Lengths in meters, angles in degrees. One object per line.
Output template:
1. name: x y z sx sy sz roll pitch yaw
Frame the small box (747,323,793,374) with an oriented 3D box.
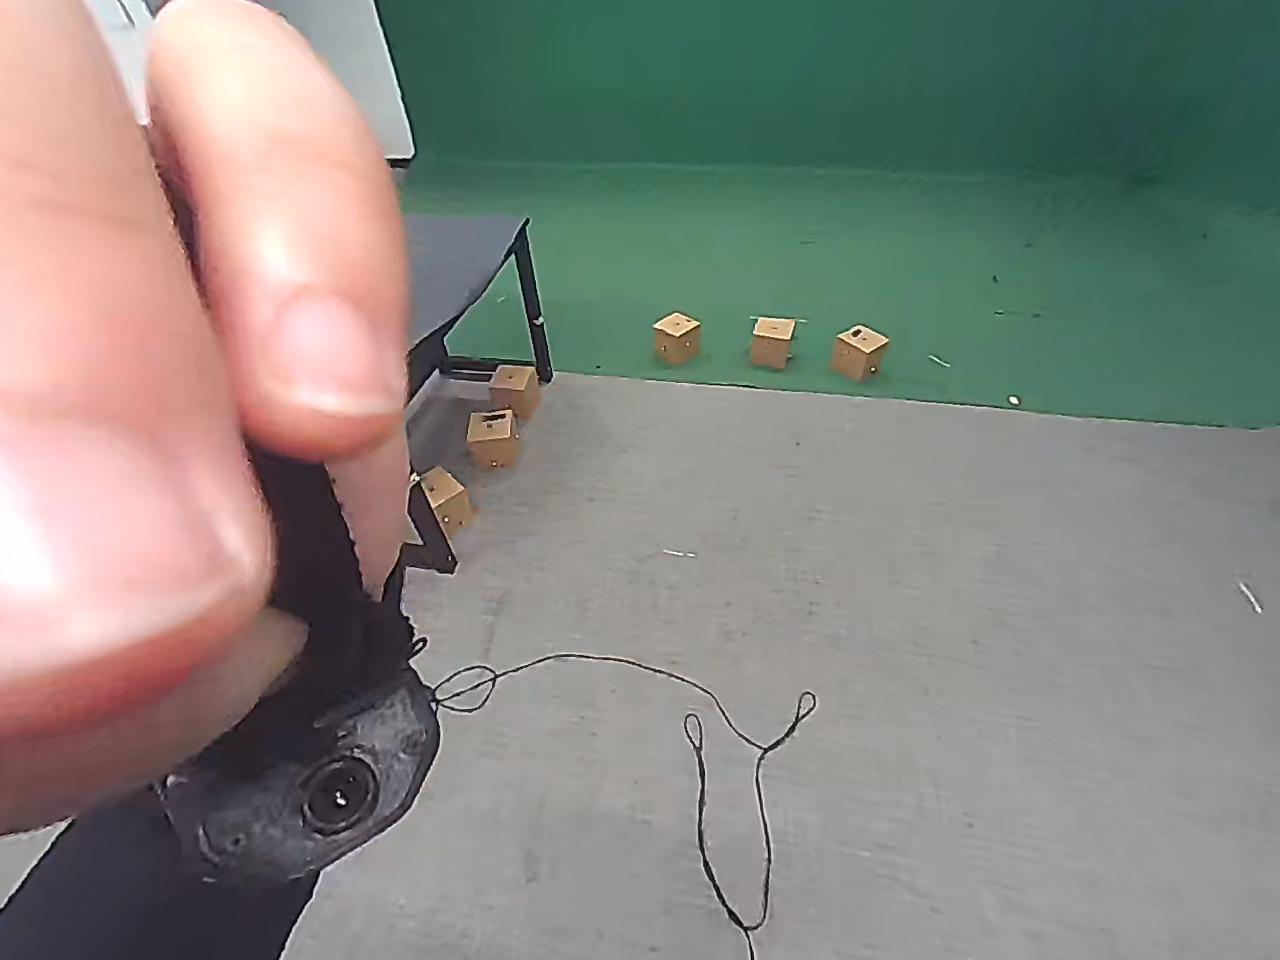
1. small box: 0.628 -0.637 2.622 0.179 0.176 0.168 14 48 14

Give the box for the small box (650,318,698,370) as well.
1. small box: 0.172 -0.669 2.673 0.179 0.176 0.168 -36 54 -29

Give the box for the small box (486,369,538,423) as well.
1. small box: -0.561 -0.373 2.401 0.168 0.176 0.179 6 45 7

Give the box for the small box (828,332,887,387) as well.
1. small box: 1.009 -0.561 2.530 0.168 0.176 0.179 -29 52 -25

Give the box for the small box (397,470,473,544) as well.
1. small box: -0.727 0.104 1.936 0.179 0.176 0.168 33 55 31
